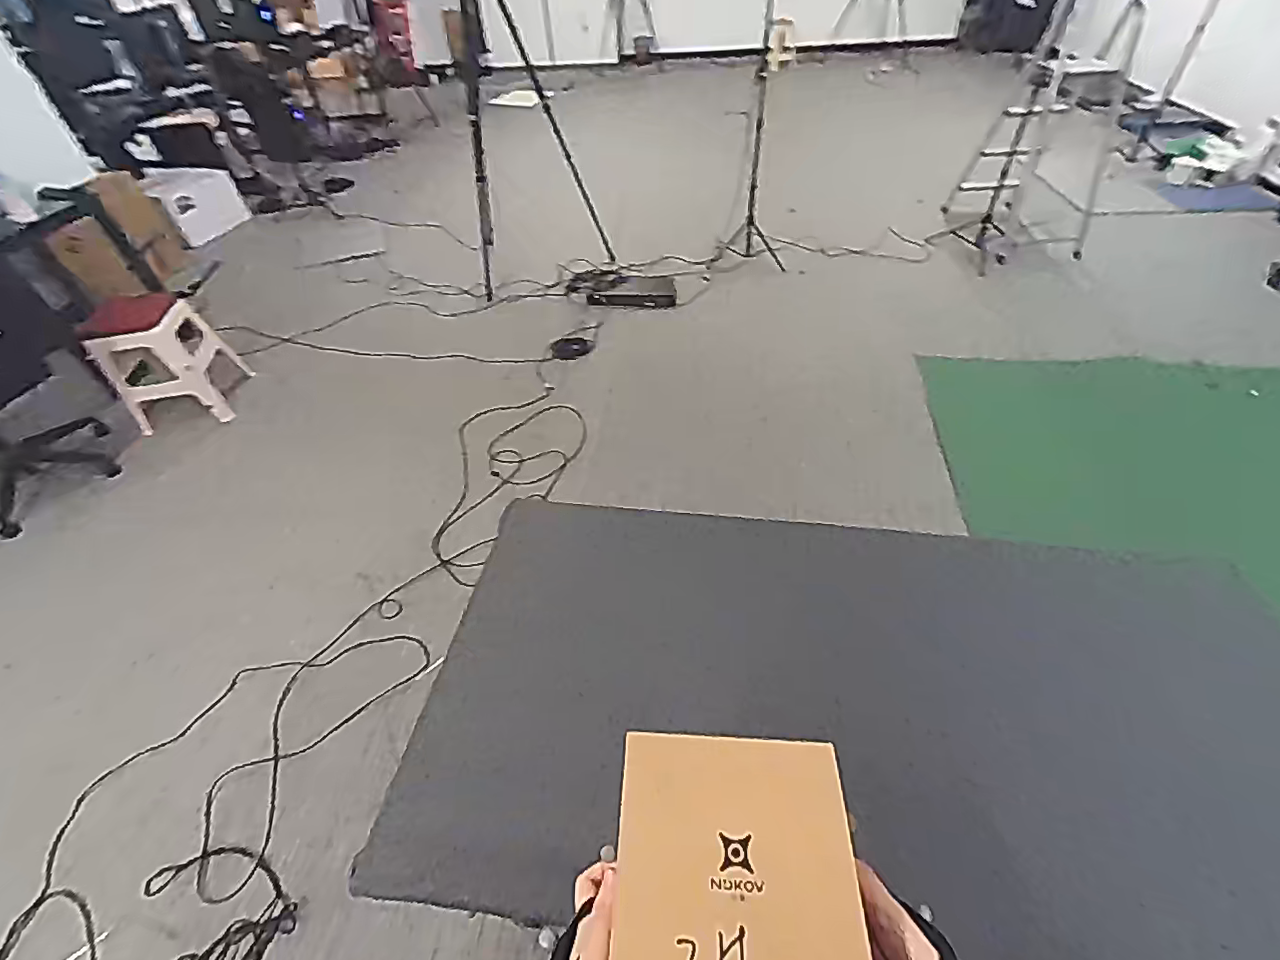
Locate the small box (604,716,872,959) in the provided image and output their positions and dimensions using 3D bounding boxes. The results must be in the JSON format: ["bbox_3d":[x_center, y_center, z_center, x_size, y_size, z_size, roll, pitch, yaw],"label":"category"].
[{"bbox_3d":[0.067,0.313,0.426,0.168,0.176,0.179,2,44,5],"label":"small box"}]
